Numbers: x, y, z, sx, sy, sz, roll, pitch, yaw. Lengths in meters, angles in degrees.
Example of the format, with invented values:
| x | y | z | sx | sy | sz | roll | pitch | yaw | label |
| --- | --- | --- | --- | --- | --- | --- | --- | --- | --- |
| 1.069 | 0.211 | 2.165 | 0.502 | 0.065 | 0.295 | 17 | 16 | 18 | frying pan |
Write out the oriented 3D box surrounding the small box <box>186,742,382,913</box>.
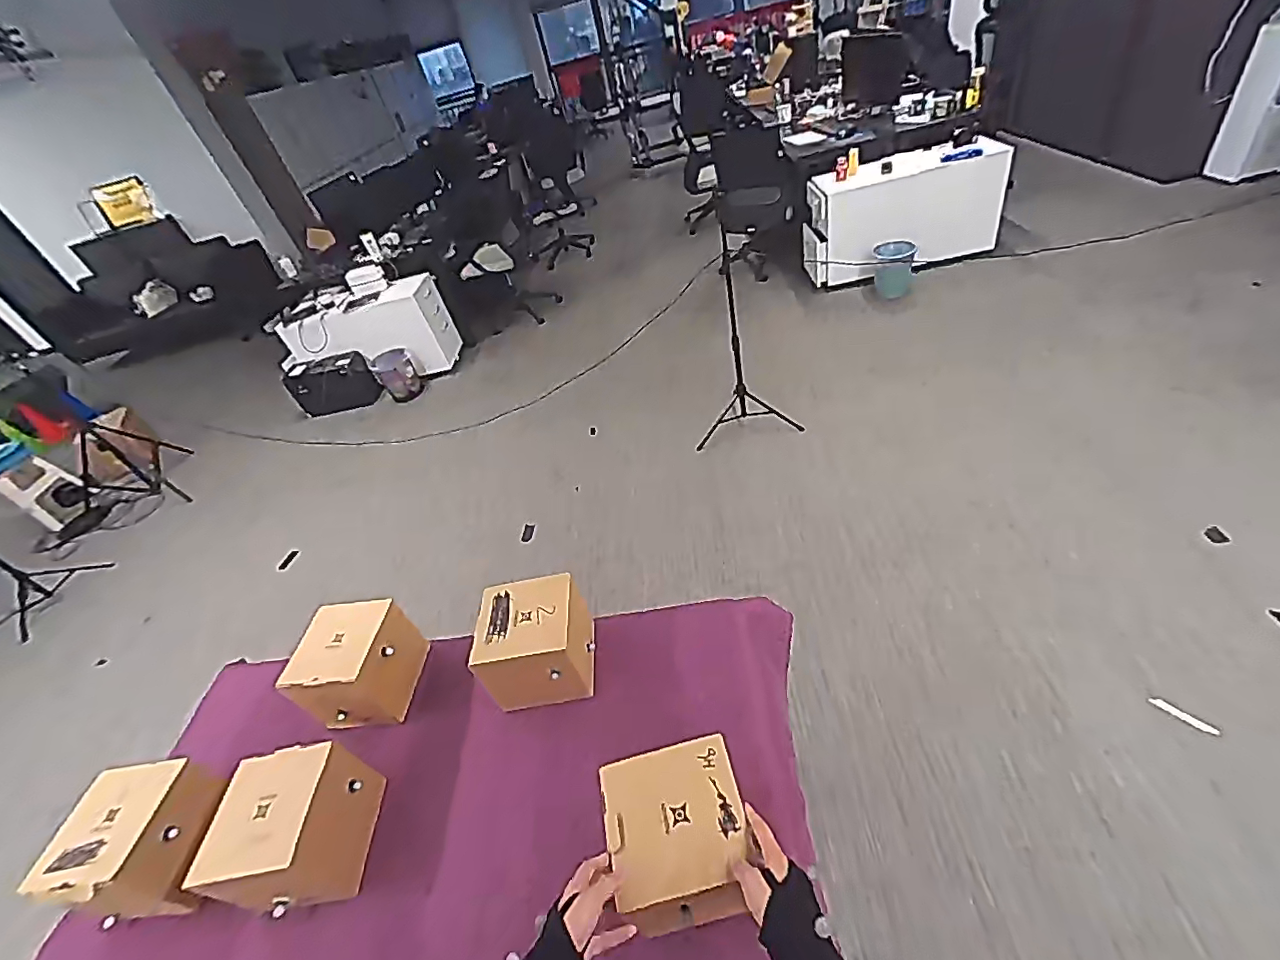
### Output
| x | y | z | sx | sy | sz | roll | pitch | yaw | label |
| --- | --- | --- | --- | --- | --- | --- | --- | --- | --- |
| -0.541 | 0.551 | 0.858 | 0.168 | 0.176 | 0.179 | -13 | 39 | 5 | small box |

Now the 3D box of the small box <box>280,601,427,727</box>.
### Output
| x | y | z | sx | sy | sz | roll | pitch | yaw | label |
| --- | --- | --- | --- | --- | --- | --- | --- | --- | --- |
| -0.550 | 0.365 | 1.071 | 0.168 | 0.176 | 0.179 | -8 | 41 | 10 | small box |

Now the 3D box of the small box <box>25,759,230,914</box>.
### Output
| x | y | z | sx | sy | sz | roll | pitch | yaw | label |
| --- | --- | --- | --- | --- | --- | --- | --- | --- | --- |
| -0.809 | 0.595 | 0.897 | 0.168 | 0.176 | 0.179 | -11 | 39 | 7 | small box |

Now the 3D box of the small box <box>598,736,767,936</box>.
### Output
| x | y | z | sx | sy | sz | roll | pitch | yaw | label |
| --- | --- | --- | --- | --- | --- | --- | --- | --- | --- |
| 0.056 | 0.478 | 0.723 | 0.179 | 0.176 | 0.168 | -16 | 41 | 1 | small box |
